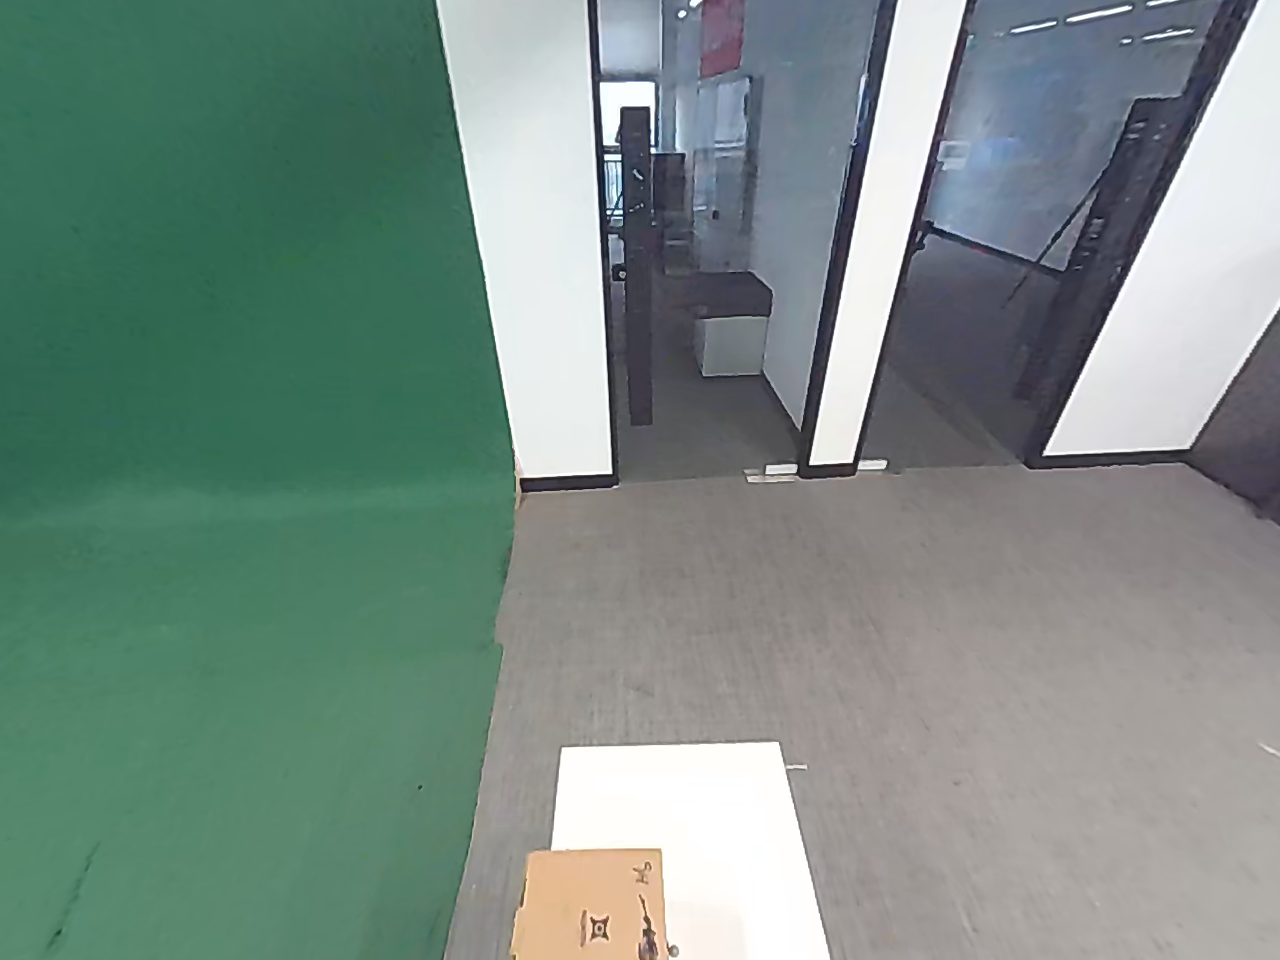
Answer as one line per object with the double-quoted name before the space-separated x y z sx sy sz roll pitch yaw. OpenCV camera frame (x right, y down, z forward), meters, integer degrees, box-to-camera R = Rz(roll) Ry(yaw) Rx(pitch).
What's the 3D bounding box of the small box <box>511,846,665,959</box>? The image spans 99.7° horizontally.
"small box" -0.058 0.588 0.678 0.179 0.176 0.168 0 35 -1
